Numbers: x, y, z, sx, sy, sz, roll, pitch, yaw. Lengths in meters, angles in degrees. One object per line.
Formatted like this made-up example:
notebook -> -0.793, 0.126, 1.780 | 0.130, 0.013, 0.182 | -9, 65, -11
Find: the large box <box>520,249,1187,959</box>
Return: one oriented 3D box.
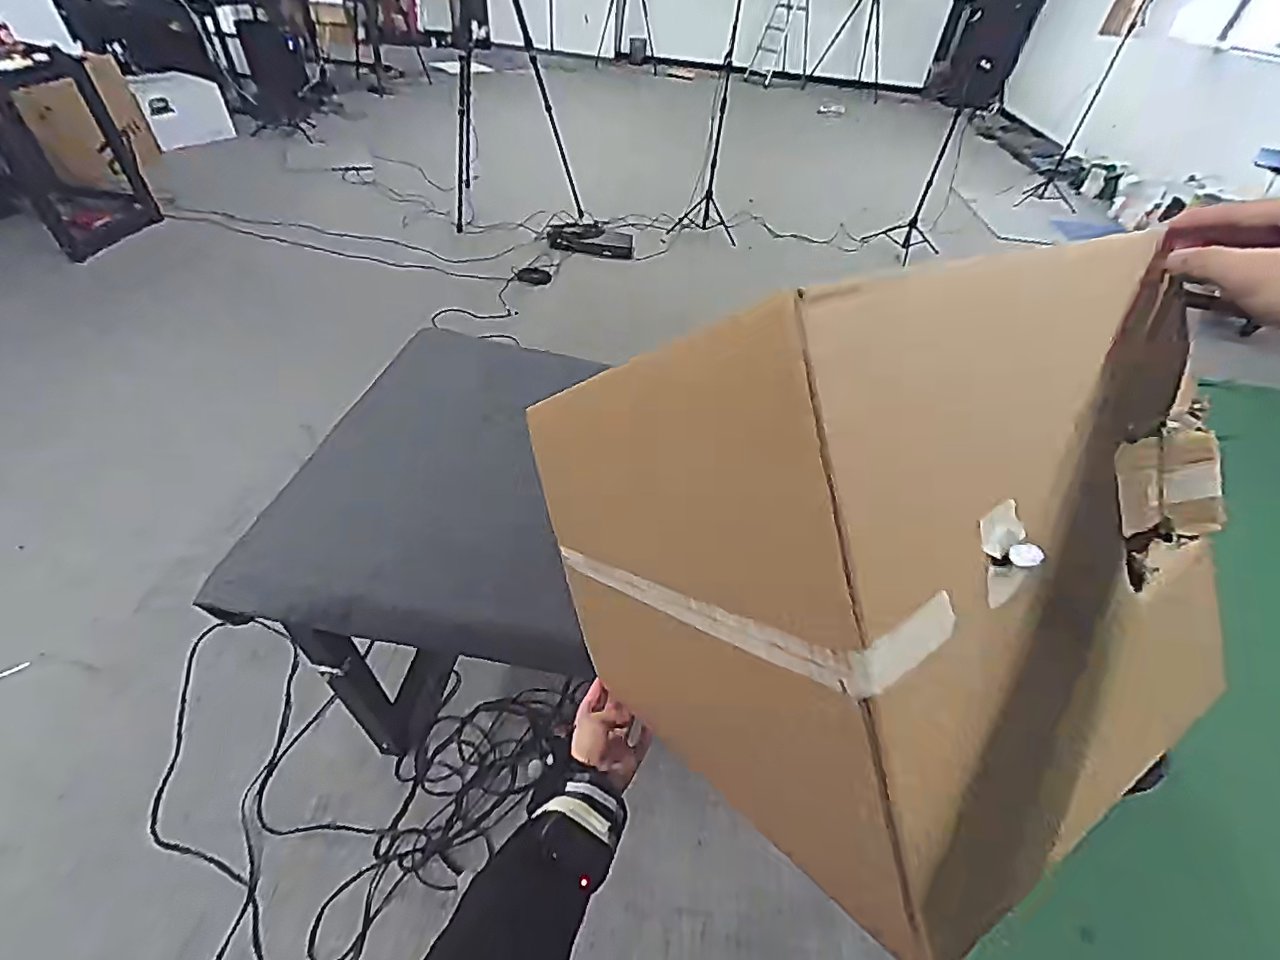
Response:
large box -> 0.132, 0.038, 0.463 | 0.320, 0.320, 0.408 | -18, 9, -27
